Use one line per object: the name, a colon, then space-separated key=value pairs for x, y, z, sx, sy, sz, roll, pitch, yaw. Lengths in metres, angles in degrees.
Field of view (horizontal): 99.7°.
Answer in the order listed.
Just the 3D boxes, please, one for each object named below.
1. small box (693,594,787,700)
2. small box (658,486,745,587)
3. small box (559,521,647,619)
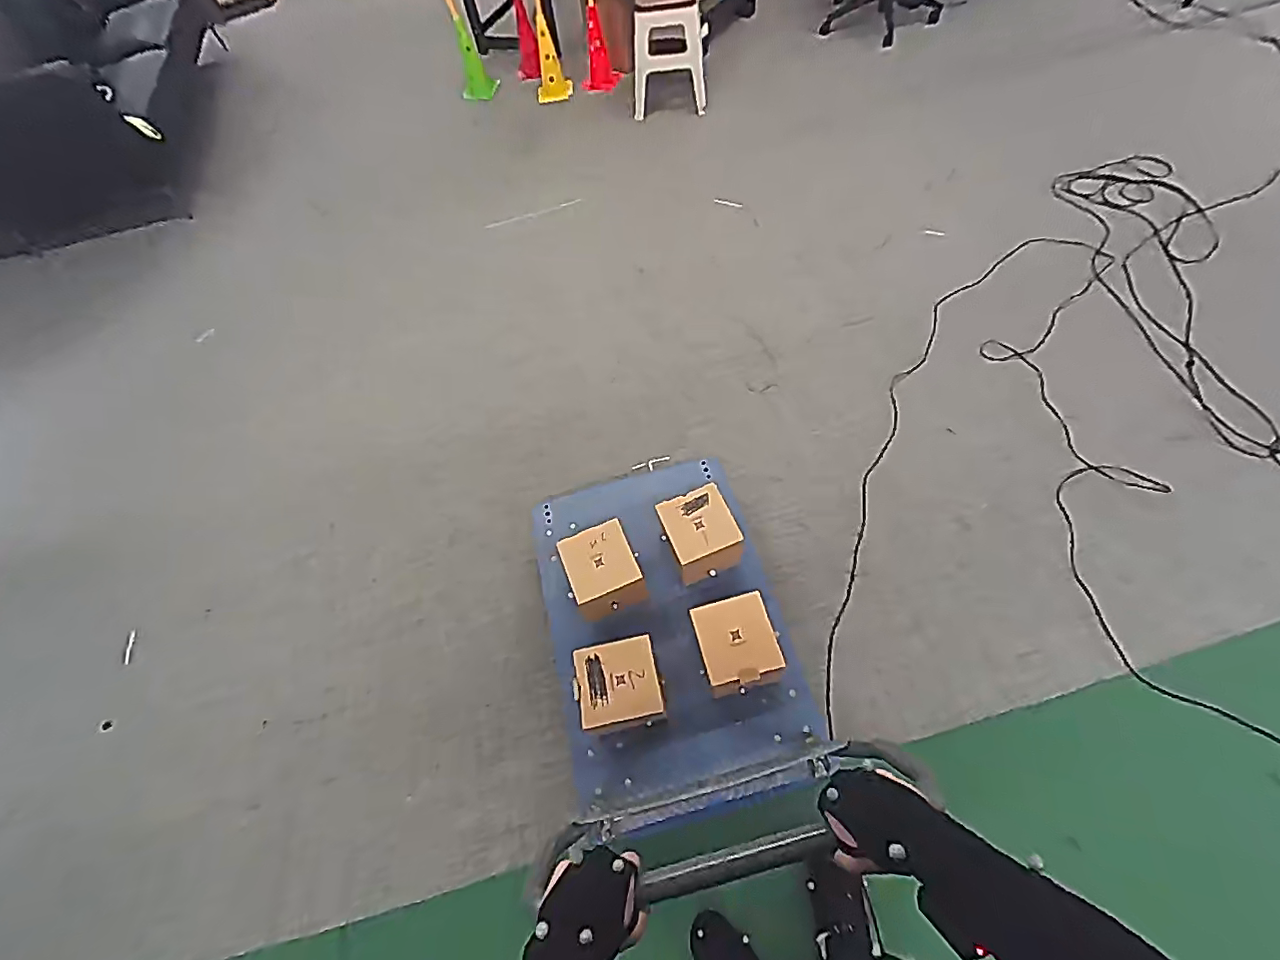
small box: x=0.222 y=0.389 z=1.251 sx=0.168 sy=0.176 sz=0.179 roll=-15 pitch=60 yaw=-2
small box: x=0.155 y=0.149 z=1.394 sx=0.168 sy=0.176 sz=0.179 roll=-21 pitch=61 yaw=-5
small box: x=-0.089 y=0.237 z=1.372 sx=0.168 sy=0.176 sz=0.179 roll=-21 pitch=60 yaw=-7
